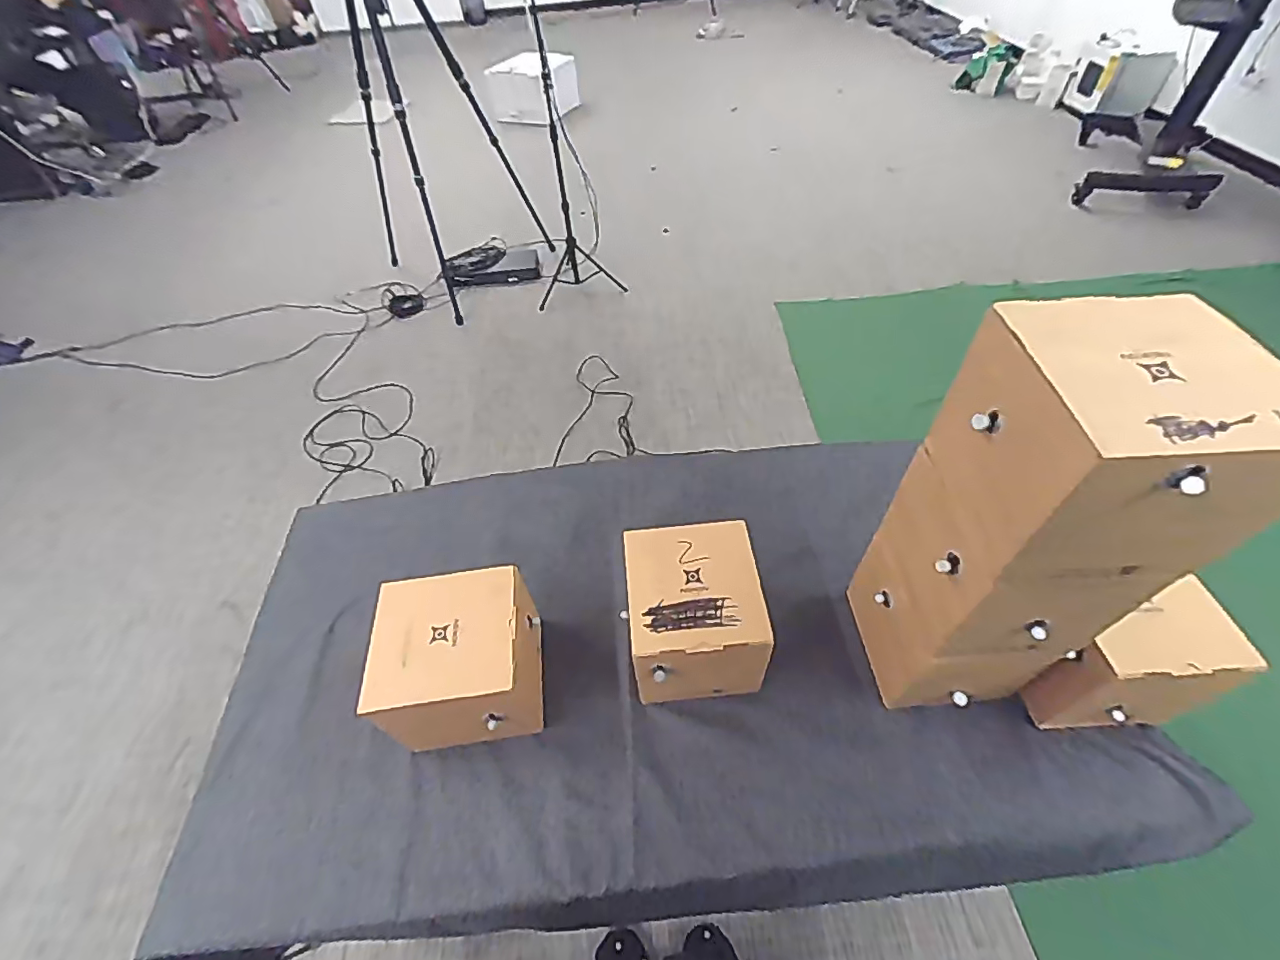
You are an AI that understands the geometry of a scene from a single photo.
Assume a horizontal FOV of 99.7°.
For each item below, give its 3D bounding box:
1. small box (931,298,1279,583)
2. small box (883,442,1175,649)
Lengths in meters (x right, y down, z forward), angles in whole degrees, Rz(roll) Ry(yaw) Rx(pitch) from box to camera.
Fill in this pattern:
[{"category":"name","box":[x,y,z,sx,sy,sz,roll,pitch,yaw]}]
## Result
[{"category":"small box","box":[0.379,-0.031,0.459,0.168,0.176,0.179,-3,49,3]},{"category":"small box","box":[0.390,0.073,0.586,0.168,0.176,0.179,-3,50,1]}]
